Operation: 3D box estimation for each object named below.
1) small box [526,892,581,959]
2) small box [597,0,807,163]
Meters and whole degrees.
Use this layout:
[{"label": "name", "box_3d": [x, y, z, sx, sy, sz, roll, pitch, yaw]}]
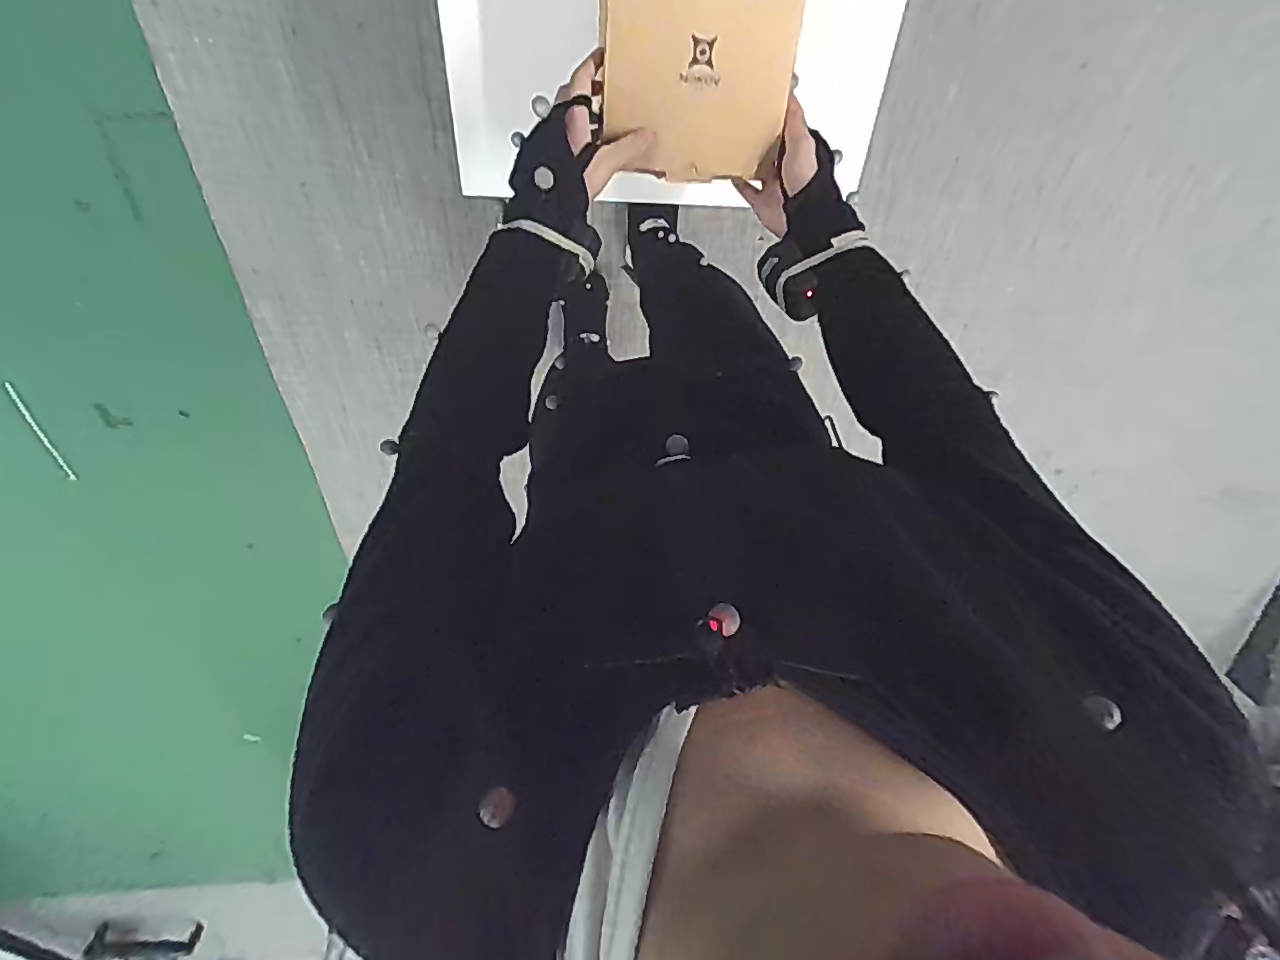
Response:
[{"label": "small box", "box_3d": [-0.276, 1.448, 1.731, 0.168, 0.176, 0.179, 2, 127, -8]}, {"label": "small box", "box_3d": [0.045, -0.409, 0.513, 0.168, 0.176, 0.179, 0, 123, -6]}]
